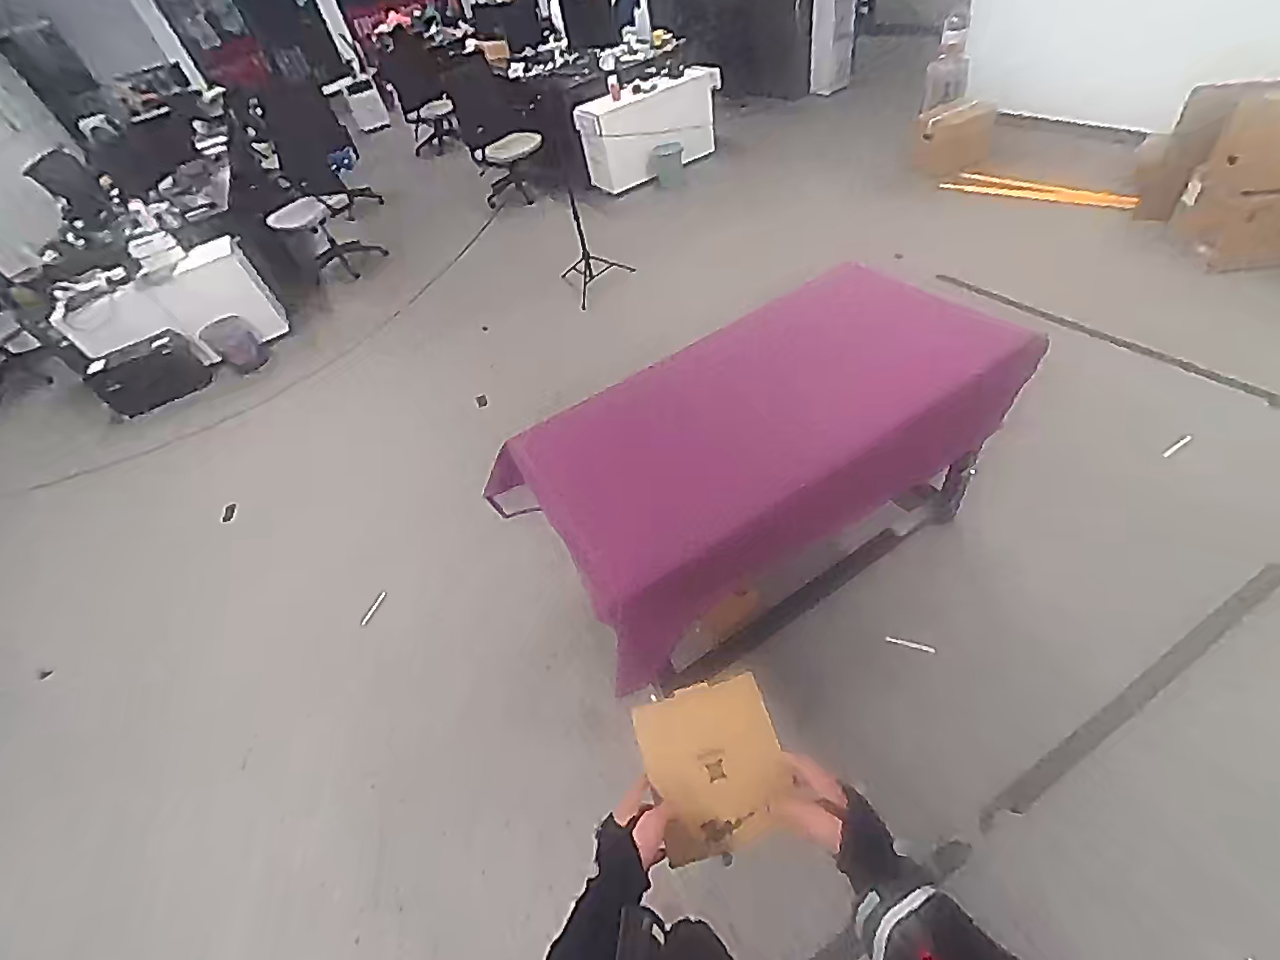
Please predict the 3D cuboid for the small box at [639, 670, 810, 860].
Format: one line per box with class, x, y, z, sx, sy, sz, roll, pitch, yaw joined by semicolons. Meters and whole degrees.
small box;0.102;0.377;0.719;0.168;0.176;0.179;-15;59;-3
